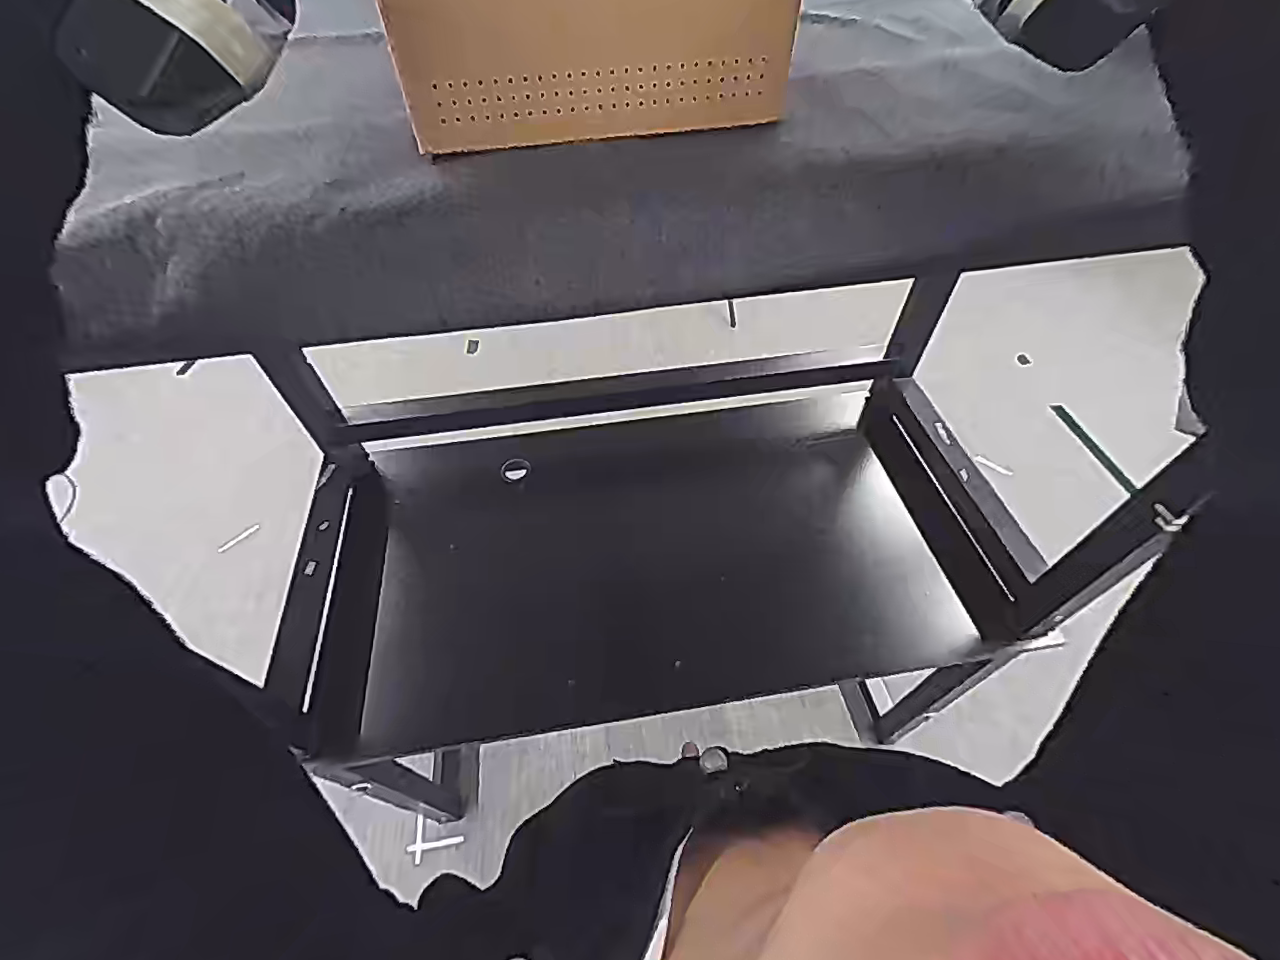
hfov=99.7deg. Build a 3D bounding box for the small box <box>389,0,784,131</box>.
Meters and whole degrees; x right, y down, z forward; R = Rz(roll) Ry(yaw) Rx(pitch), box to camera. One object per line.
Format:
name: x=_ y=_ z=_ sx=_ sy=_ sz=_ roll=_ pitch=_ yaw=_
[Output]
small box: x=-0.031 y=-0.280 z=0.245 sx=0.179 sy=0.176 sz=0.168 roll=-10 pitch=51 yaw=-7
